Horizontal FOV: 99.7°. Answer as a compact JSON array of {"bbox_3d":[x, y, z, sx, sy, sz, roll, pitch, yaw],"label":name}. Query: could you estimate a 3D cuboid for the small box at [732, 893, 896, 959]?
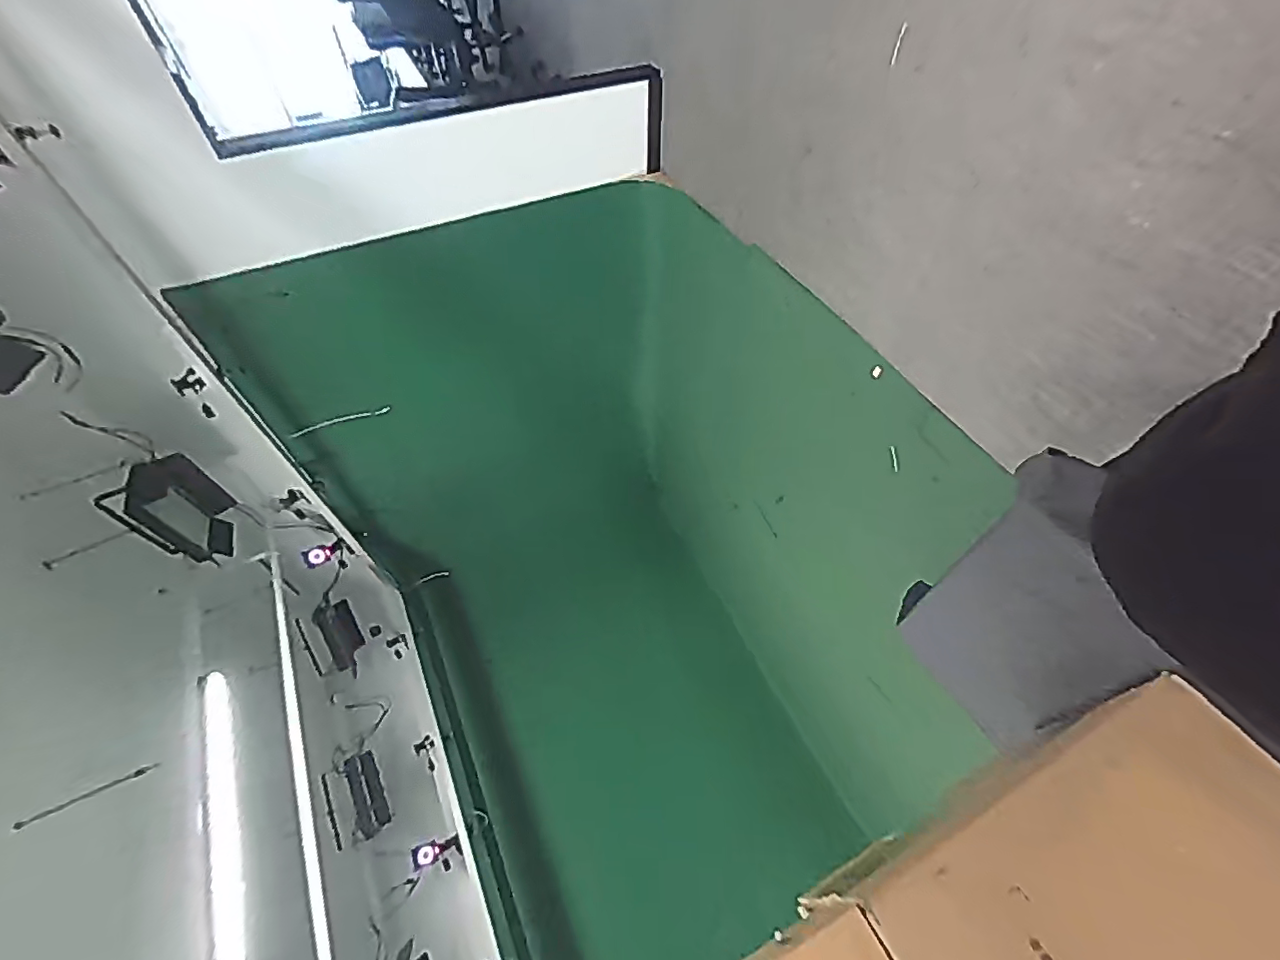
[{"bbox_3d":[0.239,0.659,0.685,0.168,0.176,0.179,57,161,34],"label":"small box"}]
